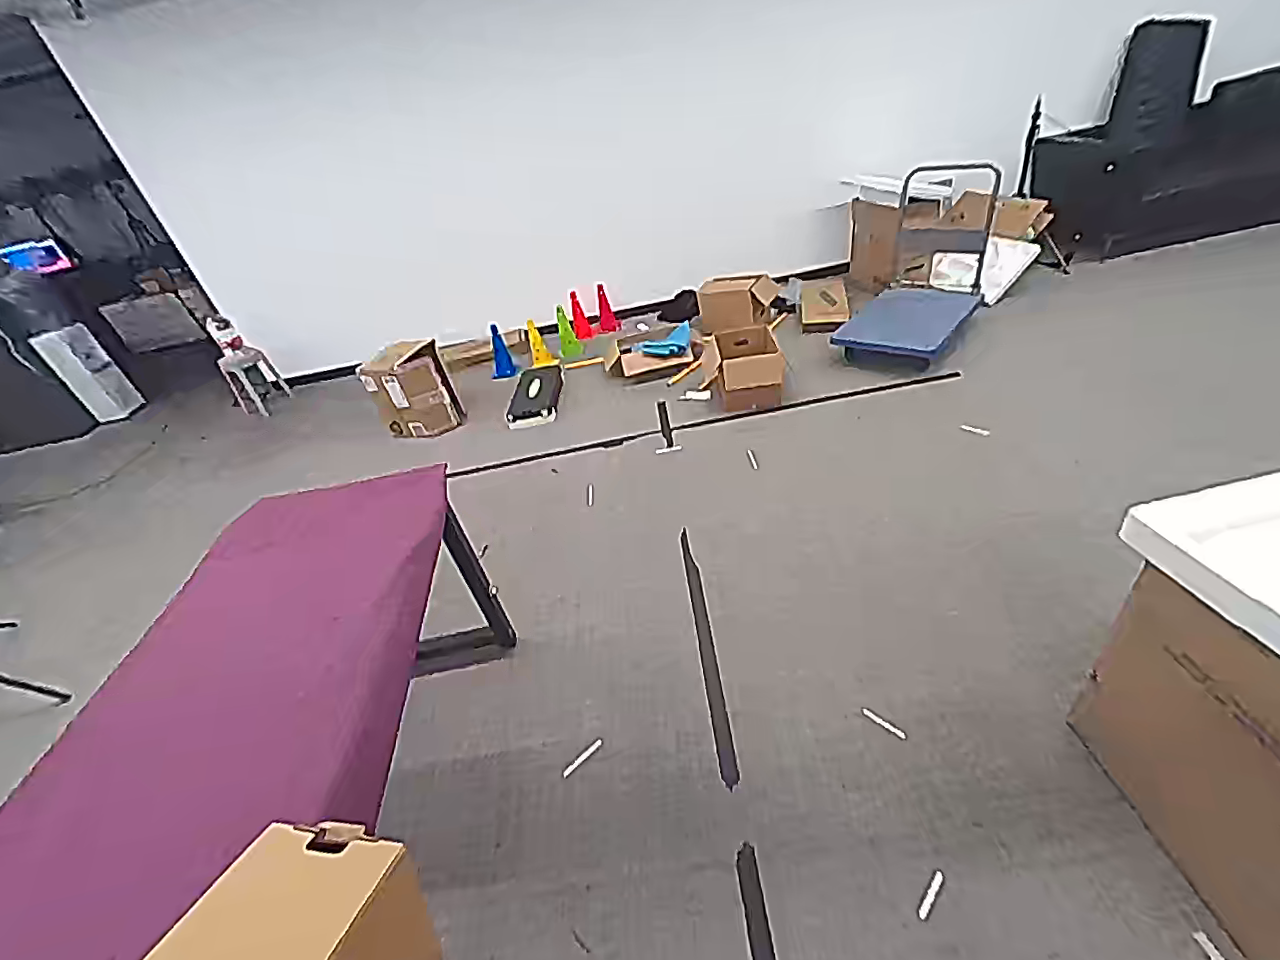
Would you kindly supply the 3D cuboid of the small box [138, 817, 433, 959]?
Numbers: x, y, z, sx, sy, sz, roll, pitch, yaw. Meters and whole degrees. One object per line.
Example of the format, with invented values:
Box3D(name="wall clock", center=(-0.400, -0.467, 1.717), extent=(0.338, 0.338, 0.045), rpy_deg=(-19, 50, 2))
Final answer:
Box3D(name="small box", center=(-0.315, 0.457, 0.494), extent=(0.168, 0.176, 0.179), rpy_deg=(-1, 18, 15))
